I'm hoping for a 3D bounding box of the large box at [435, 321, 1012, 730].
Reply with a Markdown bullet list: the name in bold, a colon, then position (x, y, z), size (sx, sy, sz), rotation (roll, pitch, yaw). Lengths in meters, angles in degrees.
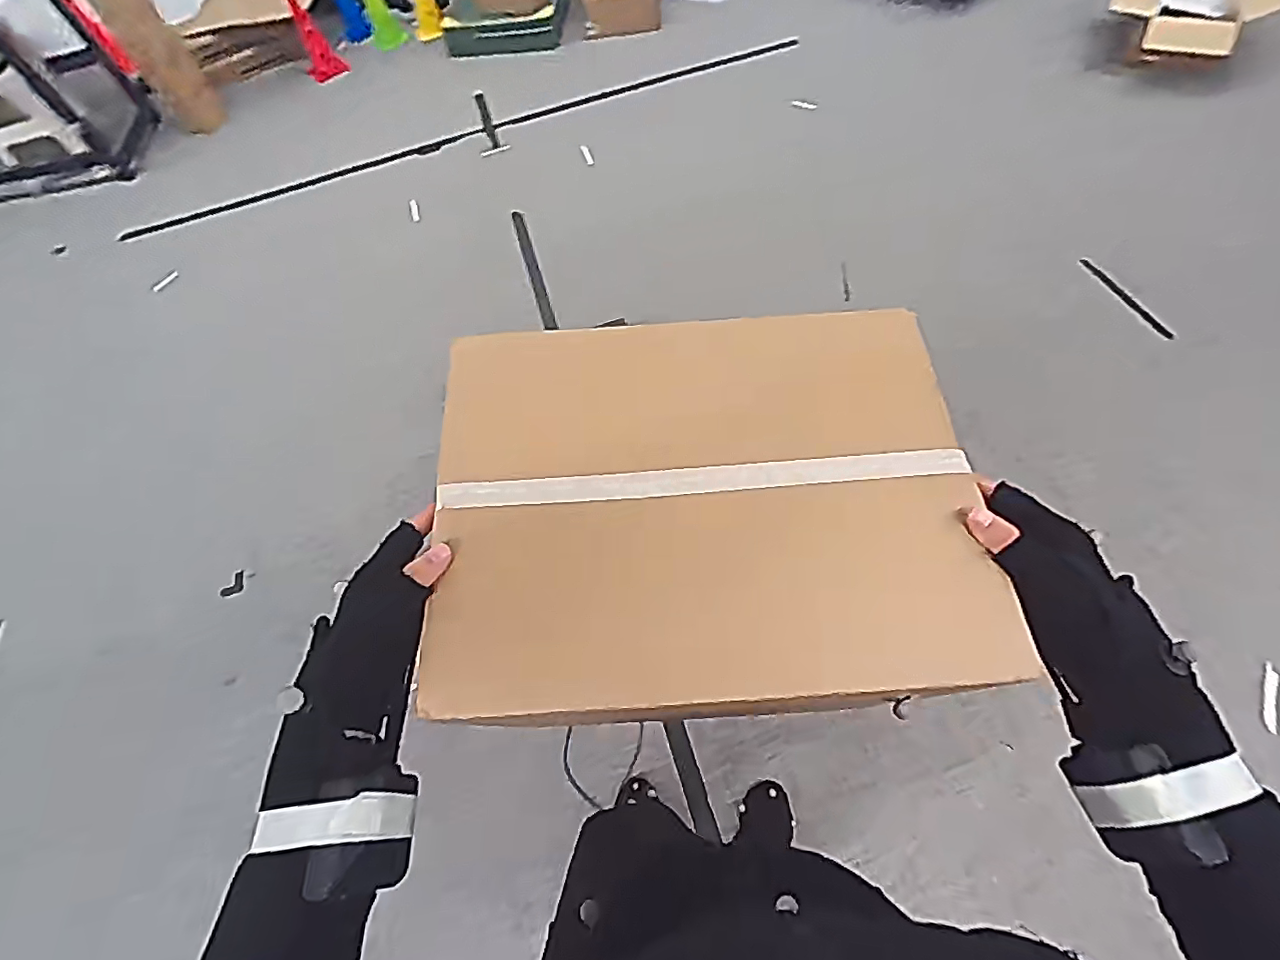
- **large box**: position (0.052, 0.072, 0.562), size (0.408, 0.320, 0.320), rotation (-5, 64, 0)
